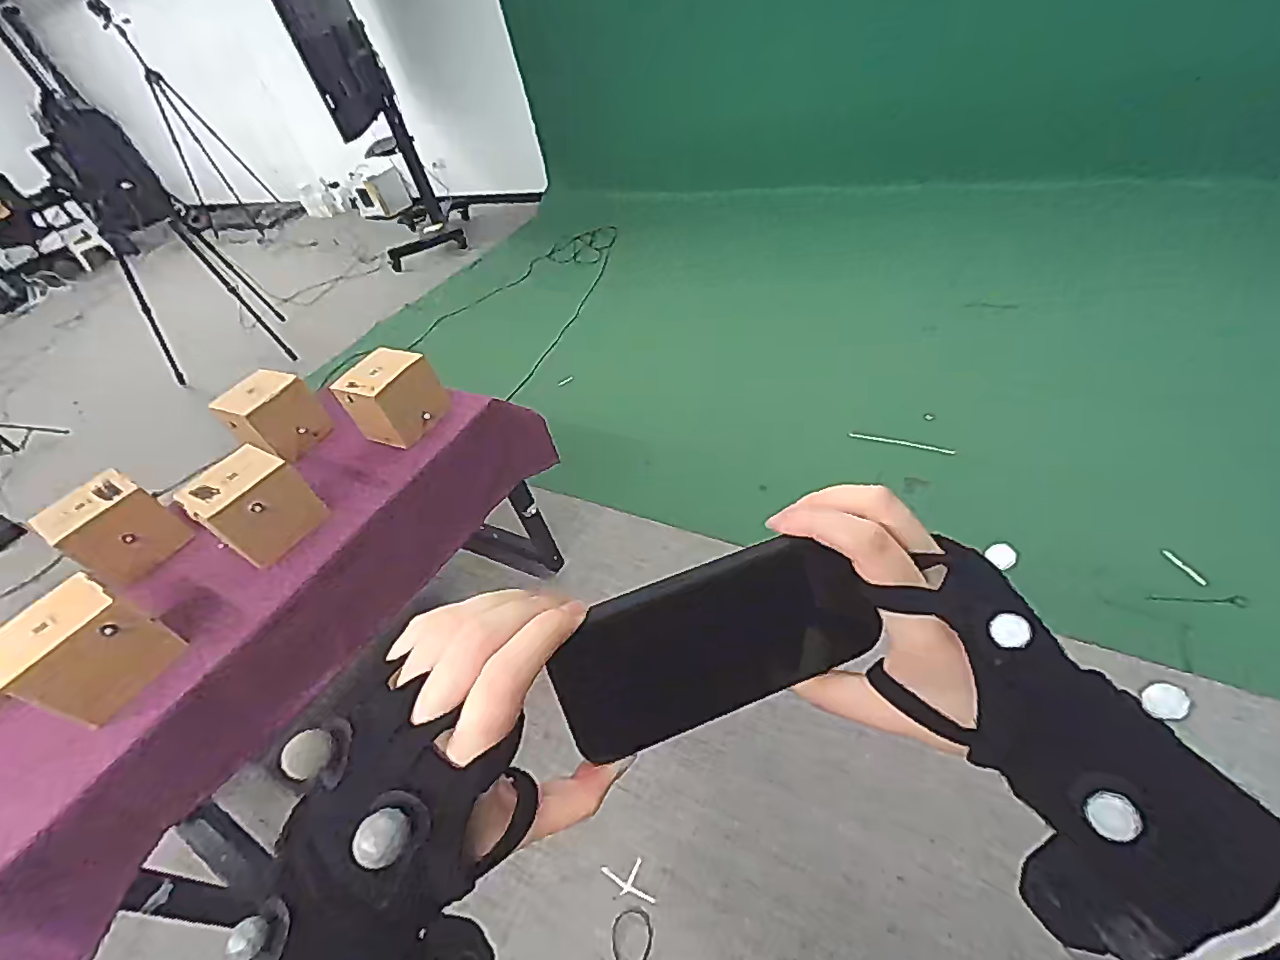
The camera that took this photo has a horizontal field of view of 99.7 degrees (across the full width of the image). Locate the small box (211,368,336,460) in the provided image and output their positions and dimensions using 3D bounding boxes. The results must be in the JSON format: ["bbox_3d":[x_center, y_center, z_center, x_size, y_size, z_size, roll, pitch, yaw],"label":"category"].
[{"bbox_3d":[-0.953,-0.171,1.420,0.179,0.176,0.168,13,51,26],"label":"small box"}]

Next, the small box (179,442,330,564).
[{"bbox_3d":[-0.818,0.051,1.163,0.168,0.176,0.179,18,52,29],"label":"small box"}]

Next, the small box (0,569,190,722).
[{"bbox_3d":[-0.973,0.296,0.963,0.168,0.176,0.179,16,51,28],"label":"small box"}]

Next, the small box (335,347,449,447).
[{"bbox_3d":[-0.614,-0.212,1.368,0.168,0.176,0.179,14,51,27],"label":"small box"}]
